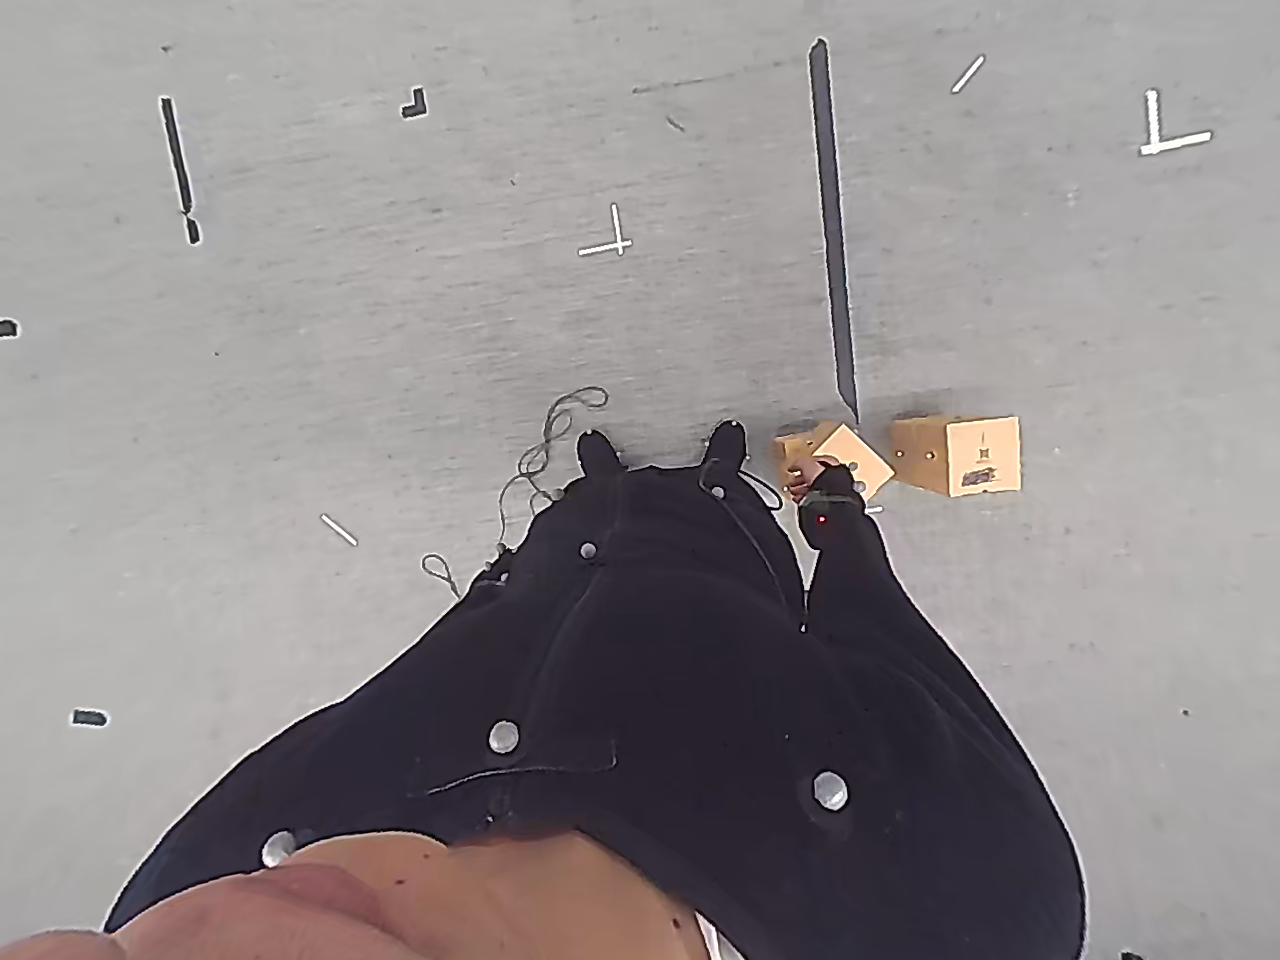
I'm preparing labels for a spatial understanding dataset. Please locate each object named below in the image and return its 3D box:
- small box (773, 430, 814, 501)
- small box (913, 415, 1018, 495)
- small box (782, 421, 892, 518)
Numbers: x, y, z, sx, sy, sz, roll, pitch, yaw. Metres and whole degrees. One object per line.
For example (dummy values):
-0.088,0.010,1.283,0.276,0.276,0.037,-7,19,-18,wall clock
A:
0.481,-0.049,1.528,0.168,0.176,0.179,-10,97,4,small box
0.801,-0.067,1.342,0.168,0.176,0.179,-6,97,3,small box
0.485,-0.032,1.364,0.179,0.176,0.168,43,98,-4,small box
